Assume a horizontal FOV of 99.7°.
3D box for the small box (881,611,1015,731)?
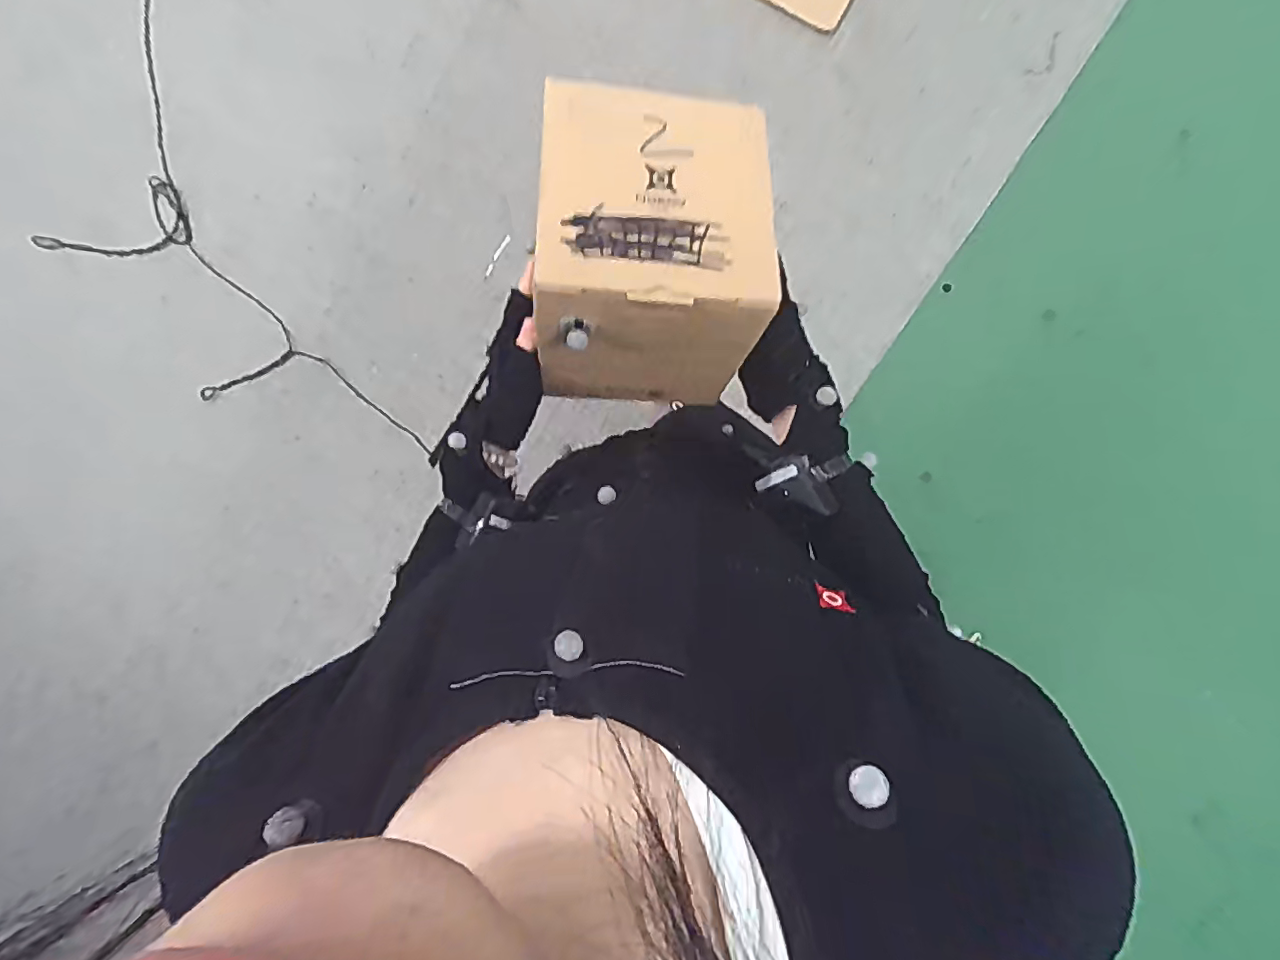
[{"bbox_3d":[0.700,0.430,1.252,0.179,0.176,0.168,29,99,0],"label":"small box"}]
